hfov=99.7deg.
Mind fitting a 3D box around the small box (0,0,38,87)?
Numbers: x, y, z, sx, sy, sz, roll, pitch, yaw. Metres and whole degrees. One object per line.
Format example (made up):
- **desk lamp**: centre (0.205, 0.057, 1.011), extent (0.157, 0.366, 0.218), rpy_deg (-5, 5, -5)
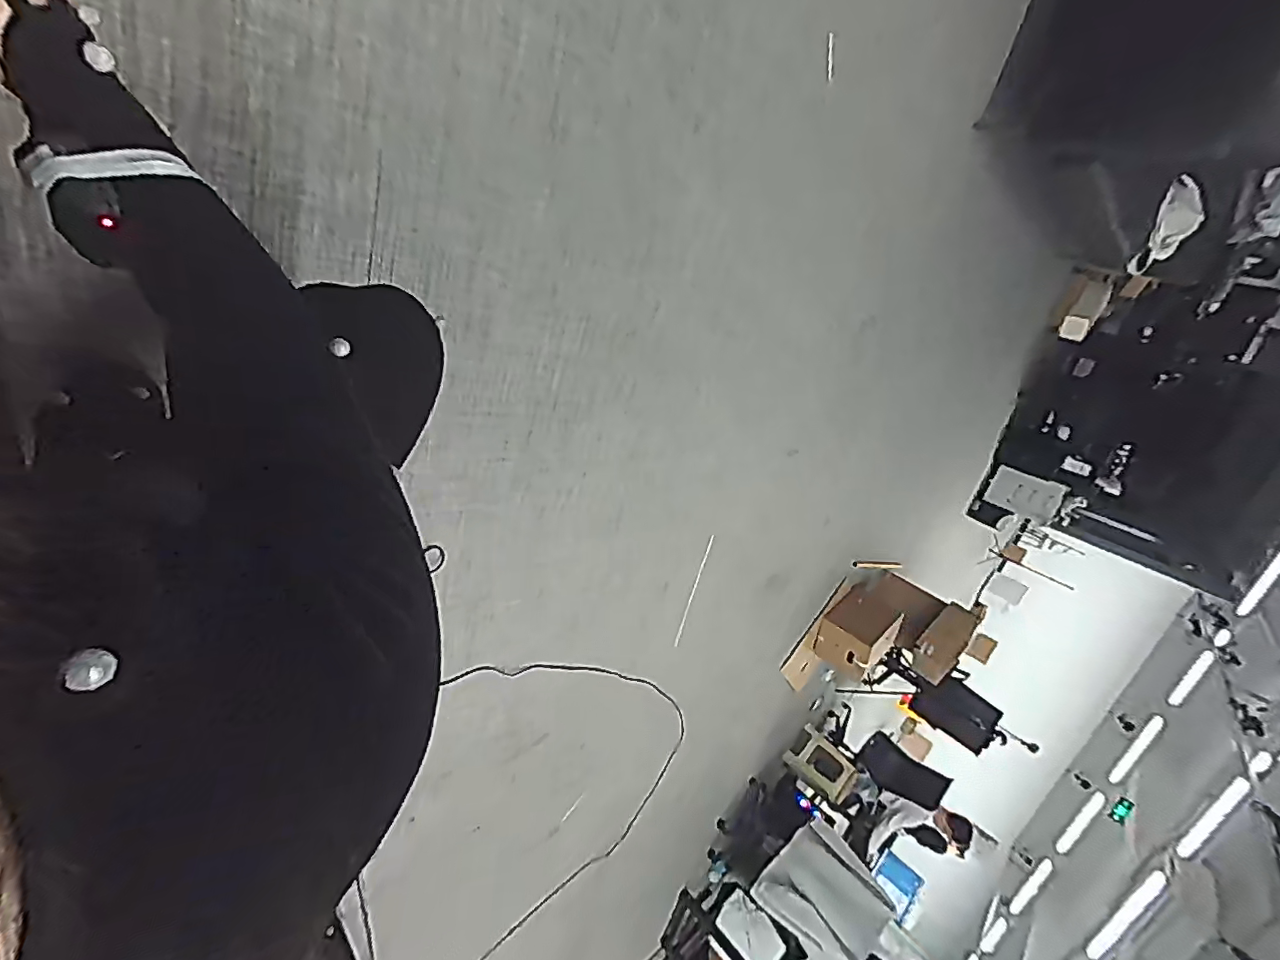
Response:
- **small box**: centre (-0.537, -0.412, 0.361), extent (0.179, 0.176, 0.168), rpy_deg (8, 93, -47)
